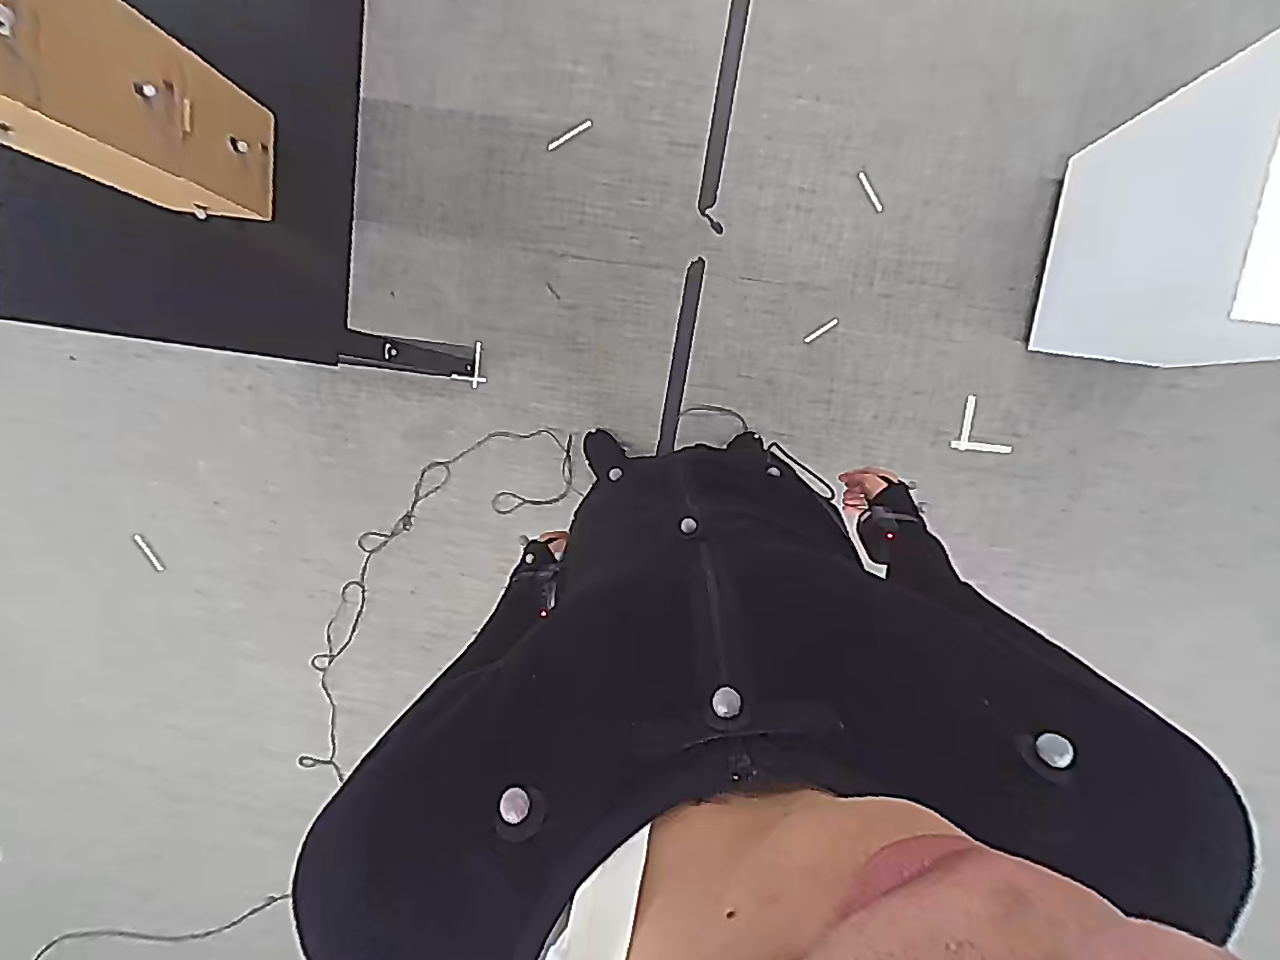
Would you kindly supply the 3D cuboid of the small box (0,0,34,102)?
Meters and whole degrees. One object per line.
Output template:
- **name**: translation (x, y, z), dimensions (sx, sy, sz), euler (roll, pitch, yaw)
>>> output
- **small box**: translation (-0.694, -0.458, 0.461), dimensions (0.179, 0.176, 0.168), euler (7, 99, 1)

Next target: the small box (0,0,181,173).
- **small box**: translation (-0.687, -0.479, 0.622), dimensions (0.179, 0.176, 0.168), euler (7, 98, 2)

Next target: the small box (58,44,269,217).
- **small box**: translation (-0.677, -0.500, 0.786), dimensions (0.179, 0.176, 0.168), euler (6, 98, 1)
